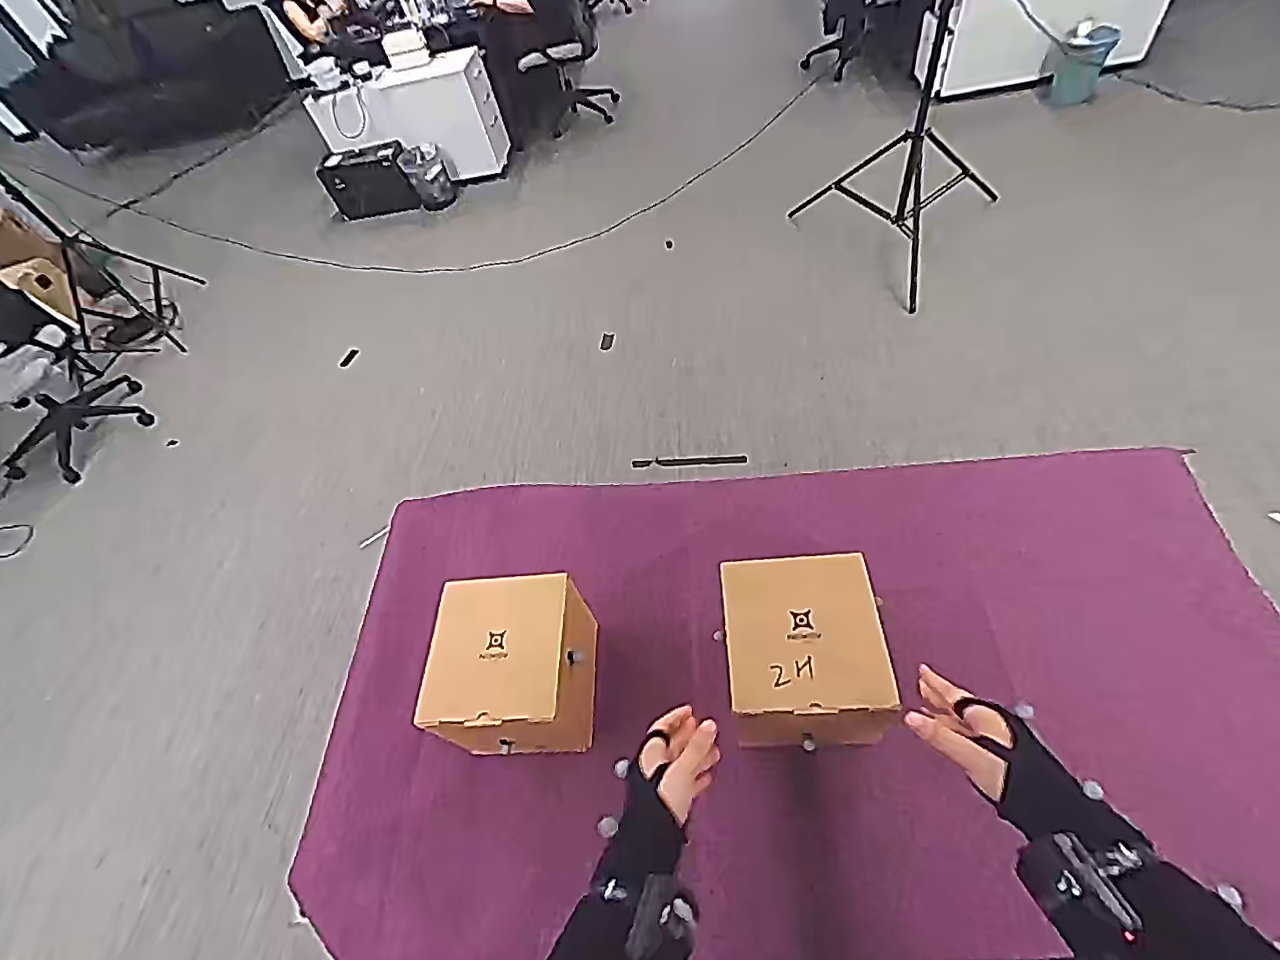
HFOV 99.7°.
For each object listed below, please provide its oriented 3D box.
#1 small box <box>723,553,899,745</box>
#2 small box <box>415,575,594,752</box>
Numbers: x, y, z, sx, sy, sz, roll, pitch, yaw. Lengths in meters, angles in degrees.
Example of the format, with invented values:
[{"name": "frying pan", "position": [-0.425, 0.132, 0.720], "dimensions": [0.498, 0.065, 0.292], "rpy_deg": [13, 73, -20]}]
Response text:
[{"name": "small box", "position": [0.190, 0.208, 0.652], "dimensions": [0.168, 0.176, 0.179], "rpy_deg": [-6, 54, 9]}, {"name": "small box", "position": [-0.159, 0.242, 0.704], "dimensions": [0.168, 0.176, 0.179], "rpy_deg": [-5, 54, 7]}]
